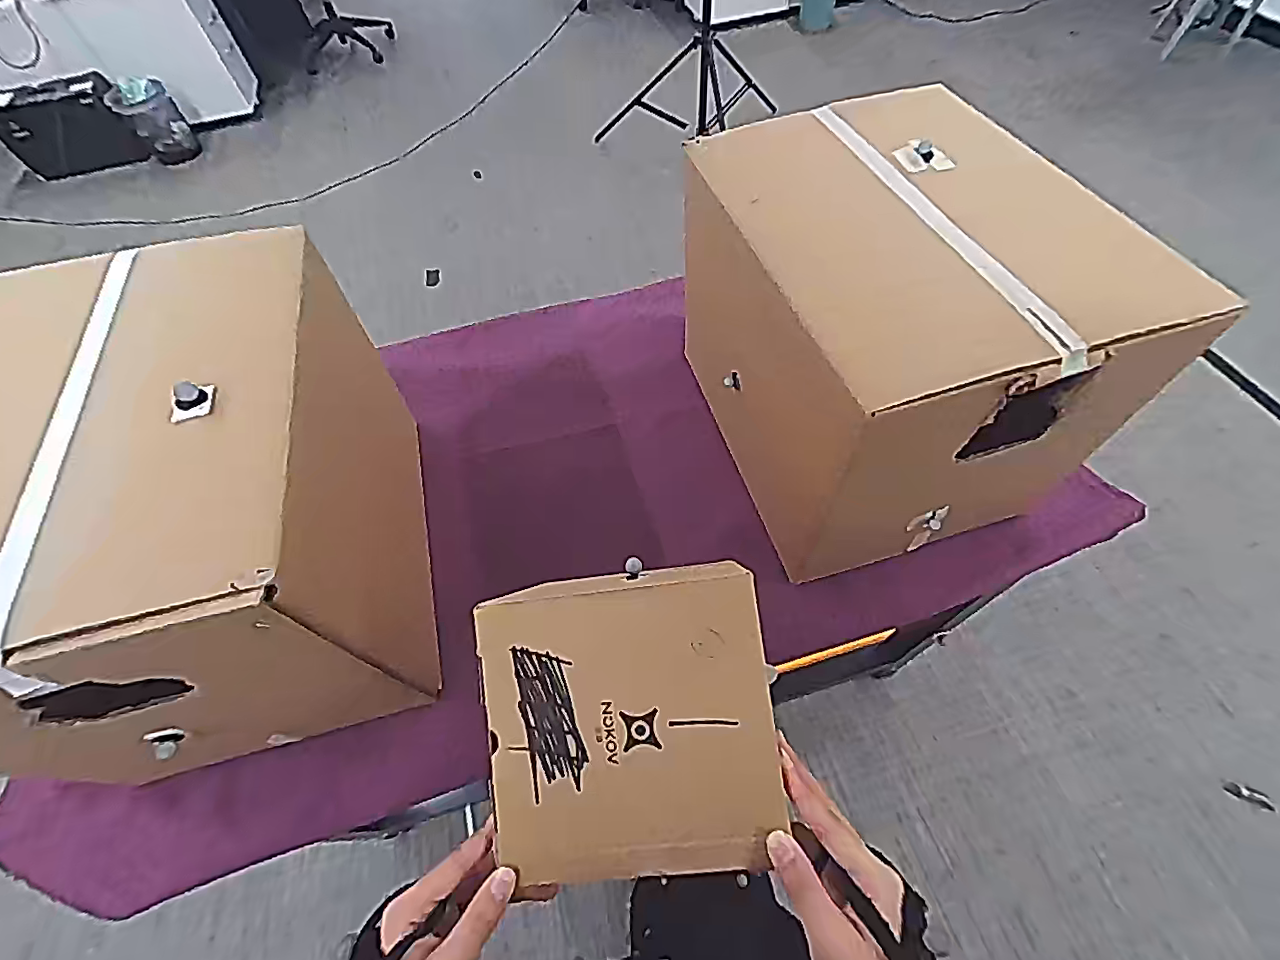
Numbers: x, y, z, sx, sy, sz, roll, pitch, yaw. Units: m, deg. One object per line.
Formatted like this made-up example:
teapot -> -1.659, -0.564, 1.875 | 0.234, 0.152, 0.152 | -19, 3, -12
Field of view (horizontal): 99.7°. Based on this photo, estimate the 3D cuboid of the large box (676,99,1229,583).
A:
large box -> 0.254, -0.157, 0.619 | 0.320, 0.320, 0.408 | -16, 56, -7

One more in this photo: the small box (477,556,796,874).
small box -> 0.001, 0.148, 0.397 | 0.179, 0.176, 0.168 | -8, 83, 4
